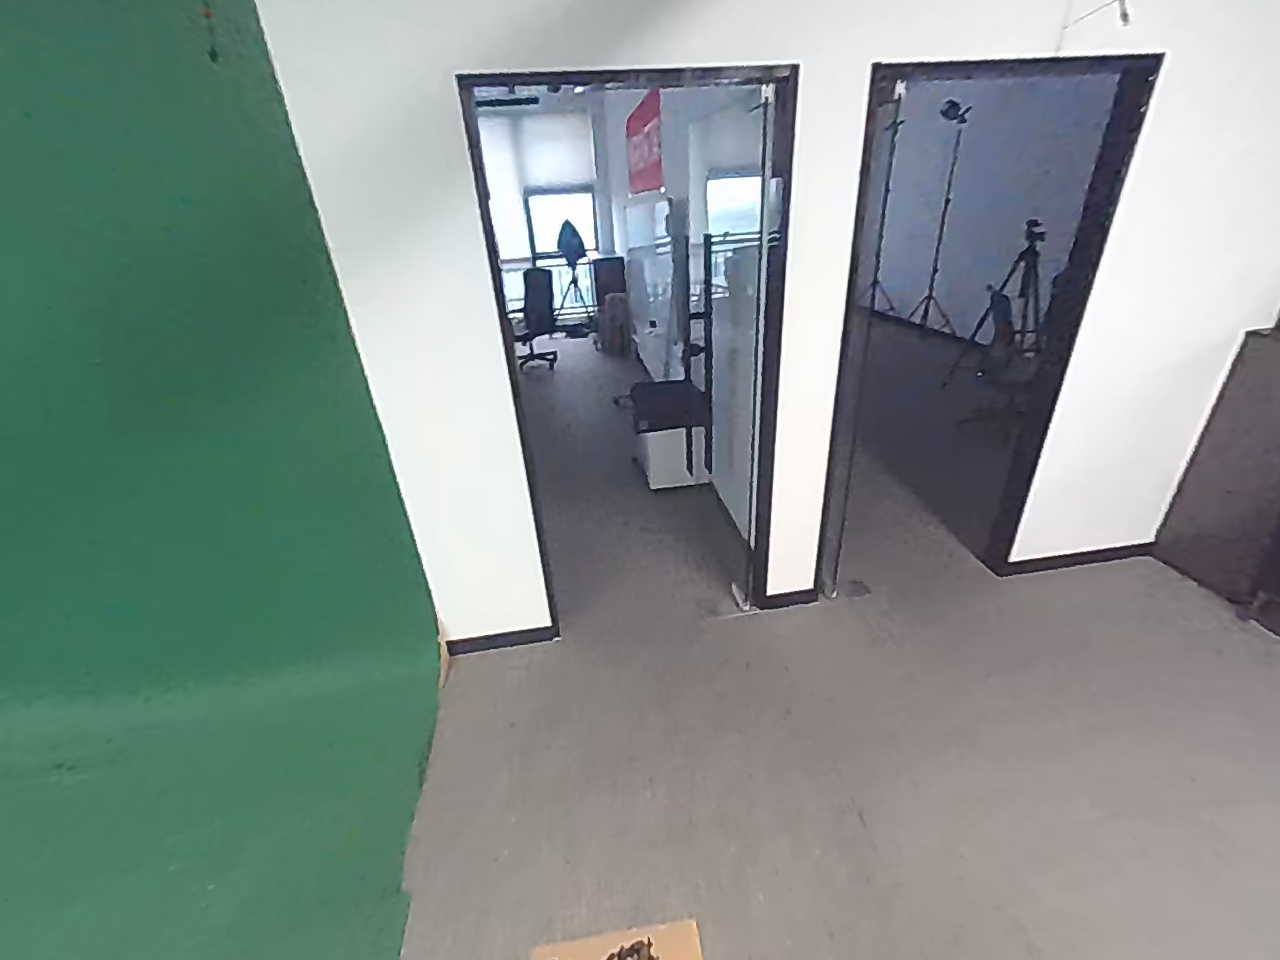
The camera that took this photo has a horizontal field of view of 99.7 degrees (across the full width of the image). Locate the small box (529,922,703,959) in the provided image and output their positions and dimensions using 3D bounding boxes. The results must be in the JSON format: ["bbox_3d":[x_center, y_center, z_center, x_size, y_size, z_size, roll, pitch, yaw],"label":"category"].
[{"bbox_3d":[-0.010,0.549,0.480,0.168,0.176,0.179,-6,24,-4],"label":"small box"}]
